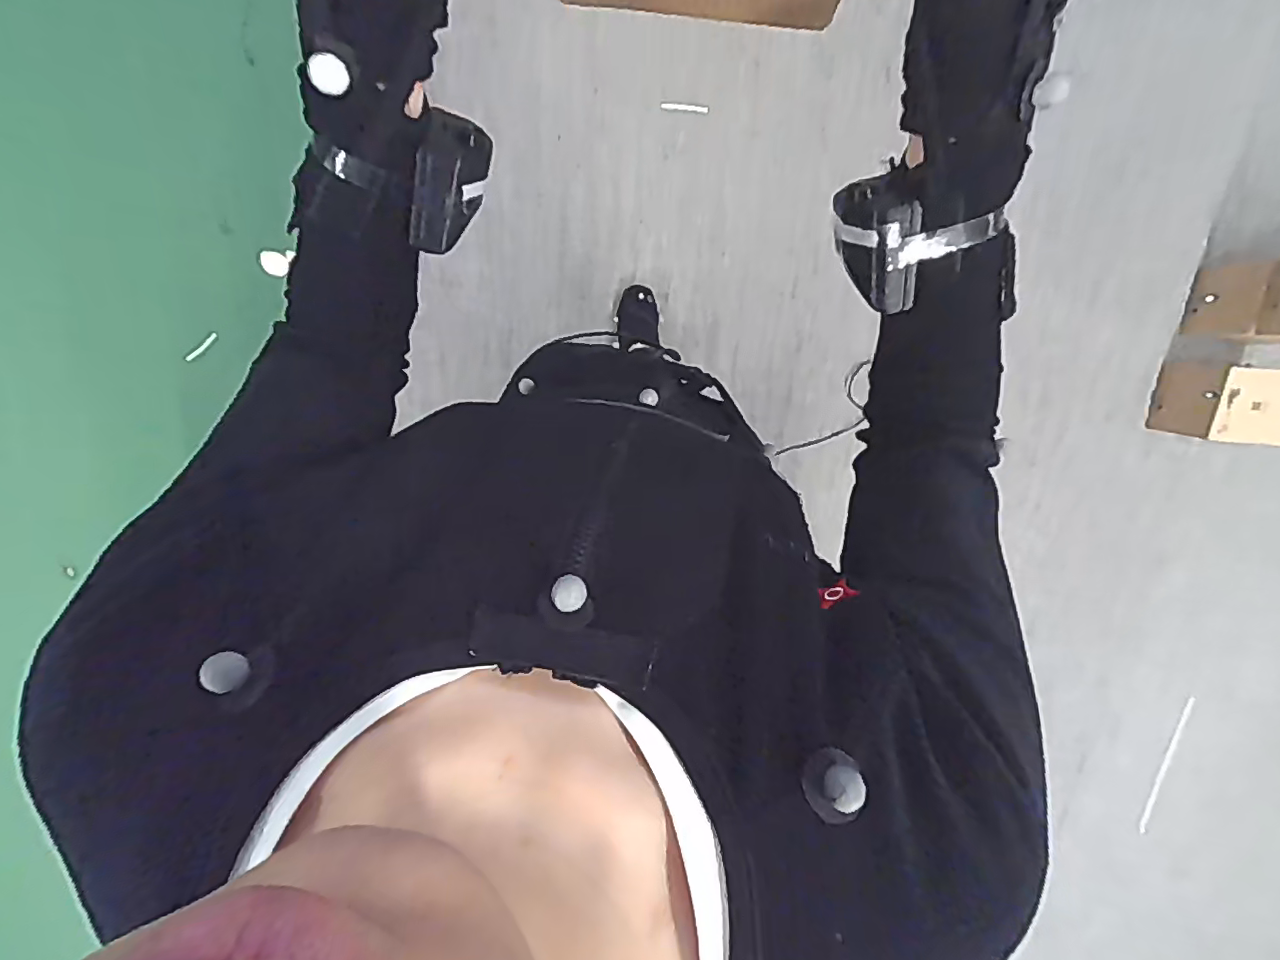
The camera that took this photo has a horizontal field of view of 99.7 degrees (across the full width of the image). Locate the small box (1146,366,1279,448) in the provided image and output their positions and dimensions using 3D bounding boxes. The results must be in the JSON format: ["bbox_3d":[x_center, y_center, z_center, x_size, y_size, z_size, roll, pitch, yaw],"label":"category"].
[{"bbox_3d":[1.370,-0.177,1.272,0.179,0.176,0.168,4,104,1],"label":"small box"}]

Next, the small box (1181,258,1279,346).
[{"bbox_3d":[1.403,-0.394,1.217,0.179,0.176,0.168,7,104,2],"label":"small box"}]

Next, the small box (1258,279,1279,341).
[{"bbox_3d":[1.402,-0.354,1.058,0.179,0.176,0.168,6,104,1],"label":"small box"}]
